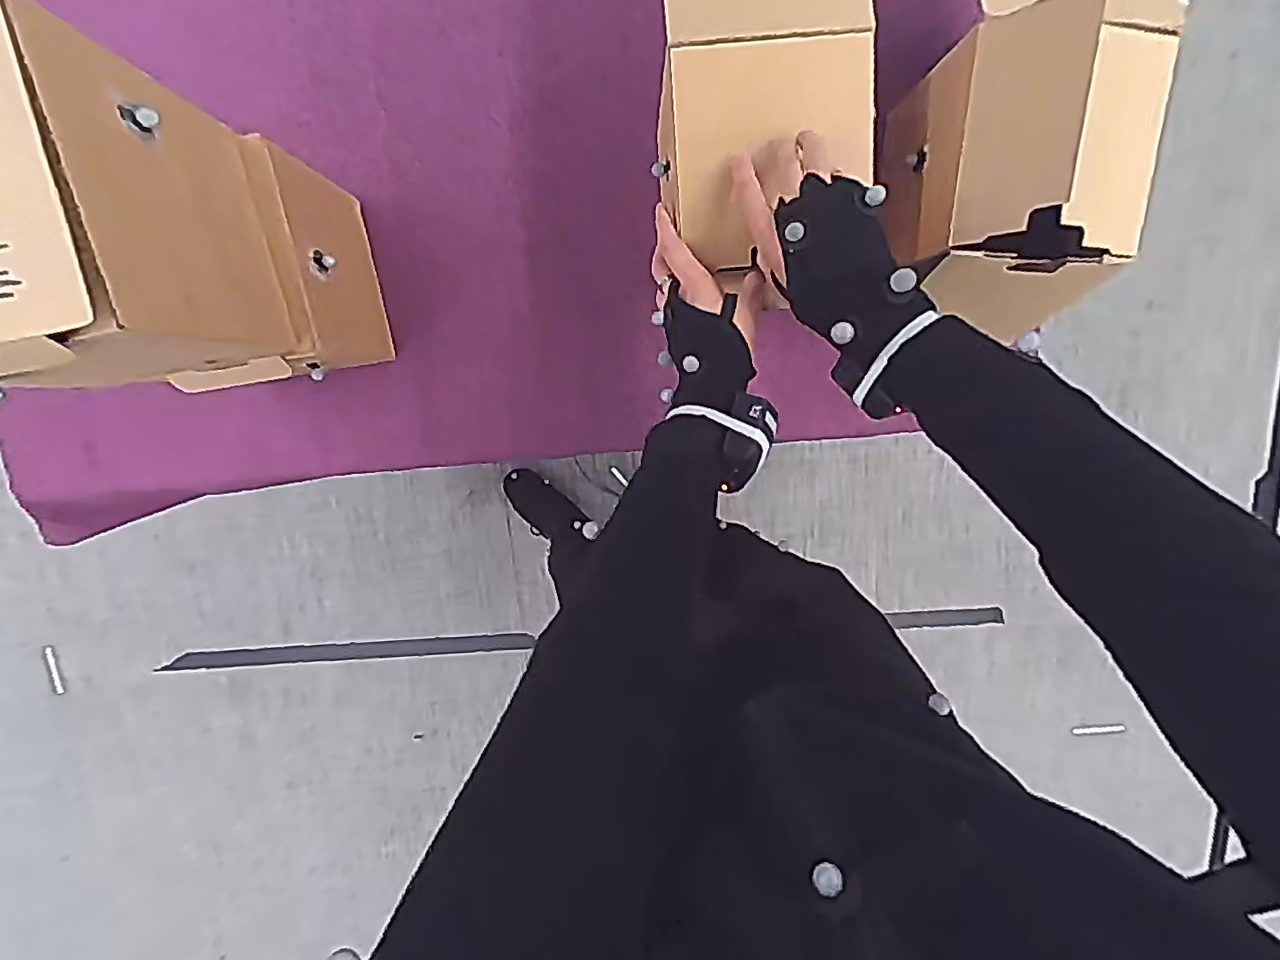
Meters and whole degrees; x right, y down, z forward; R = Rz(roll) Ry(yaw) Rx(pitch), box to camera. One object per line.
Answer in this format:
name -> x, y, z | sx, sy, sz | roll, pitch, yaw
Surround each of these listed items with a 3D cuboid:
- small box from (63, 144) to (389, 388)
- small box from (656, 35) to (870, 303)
small box -> -0.371, -0.190, 0.527 | 0.168, 0.176, 0.179 | -9, 101, -1
small box -> 0.104, -0.276, 0.519 | 0.168, 0.176, 0.179 | -4, 101, 0
